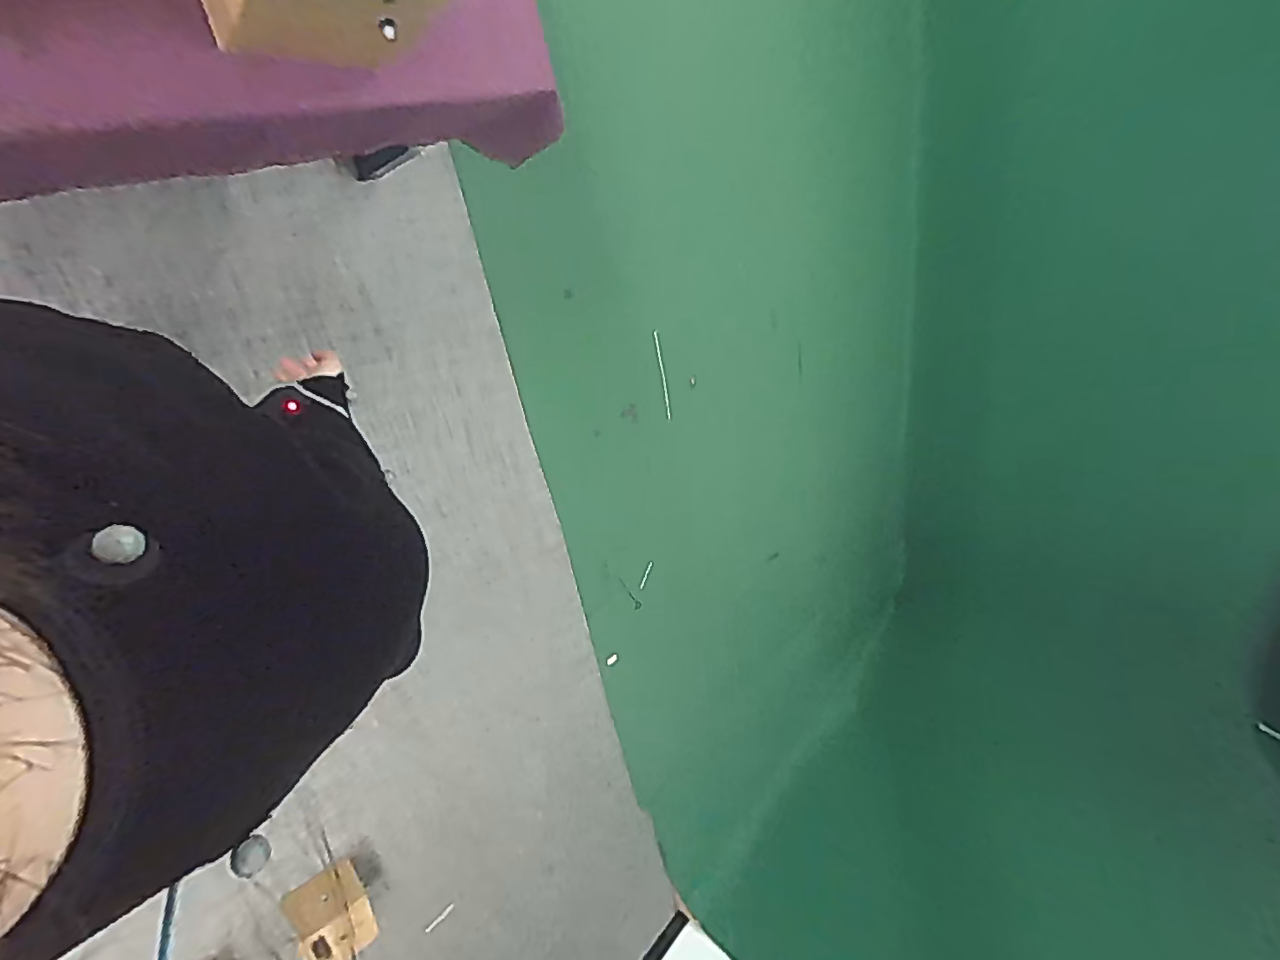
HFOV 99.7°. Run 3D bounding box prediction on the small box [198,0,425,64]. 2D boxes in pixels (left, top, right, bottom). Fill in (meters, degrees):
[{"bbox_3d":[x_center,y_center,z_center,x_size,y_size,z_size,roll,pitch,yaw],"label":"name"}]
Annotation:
[{"bbox_3d":[-0.353,-0.551,0.544,0.179,0.176,0.168,-28,118,-38],"label":"small box"}]
